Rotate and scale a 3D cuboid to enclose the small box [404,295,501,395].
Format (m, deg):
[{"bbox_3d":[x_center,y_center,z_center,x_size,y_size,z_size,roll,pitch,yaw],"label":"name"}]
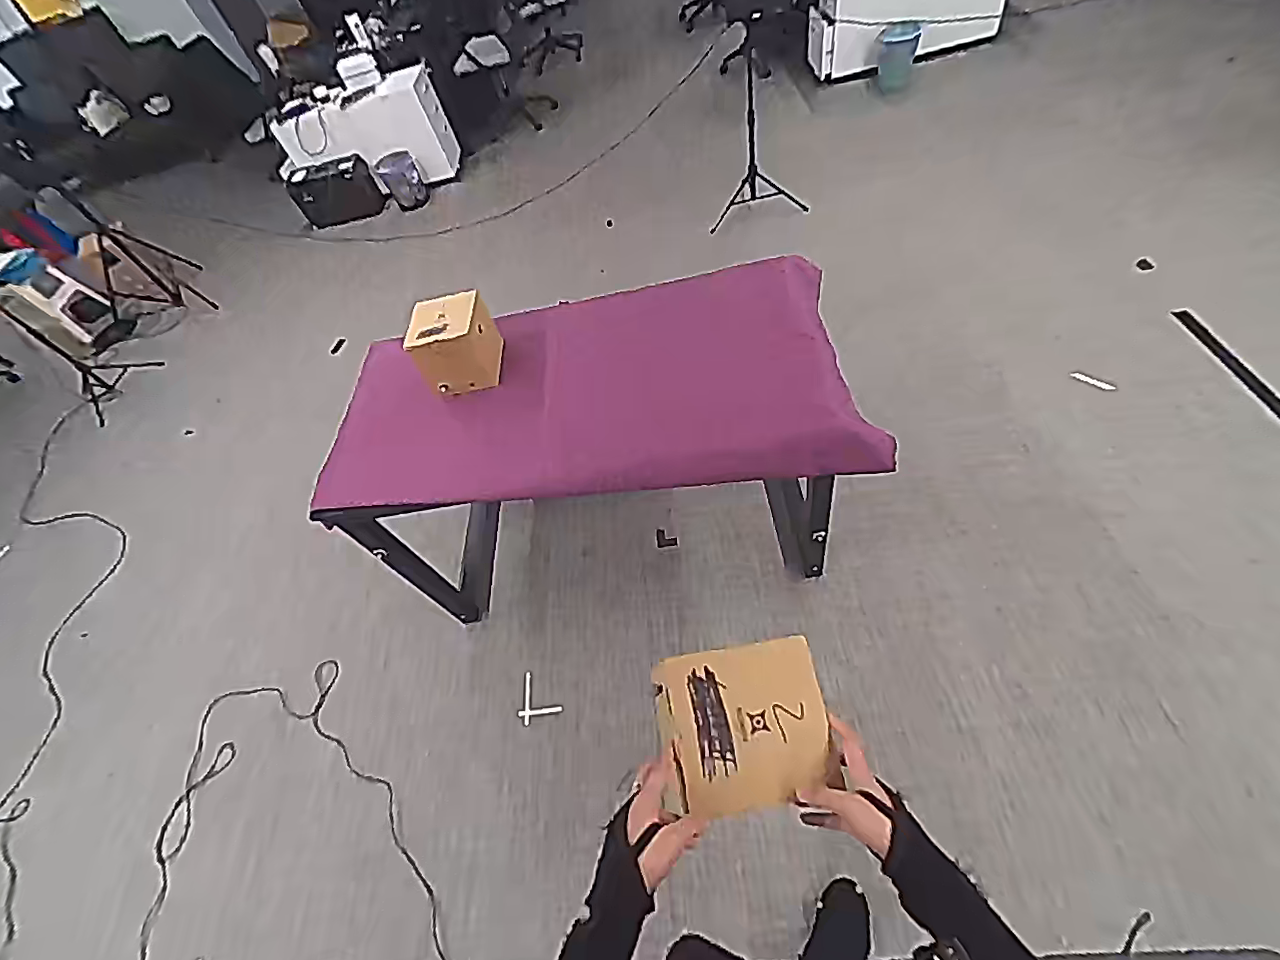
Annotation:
[{"bbox_3d":[-0.465,-0.333,1.368,0.168,0.176,0.179,-10,53,7],"label":"small box"}]
